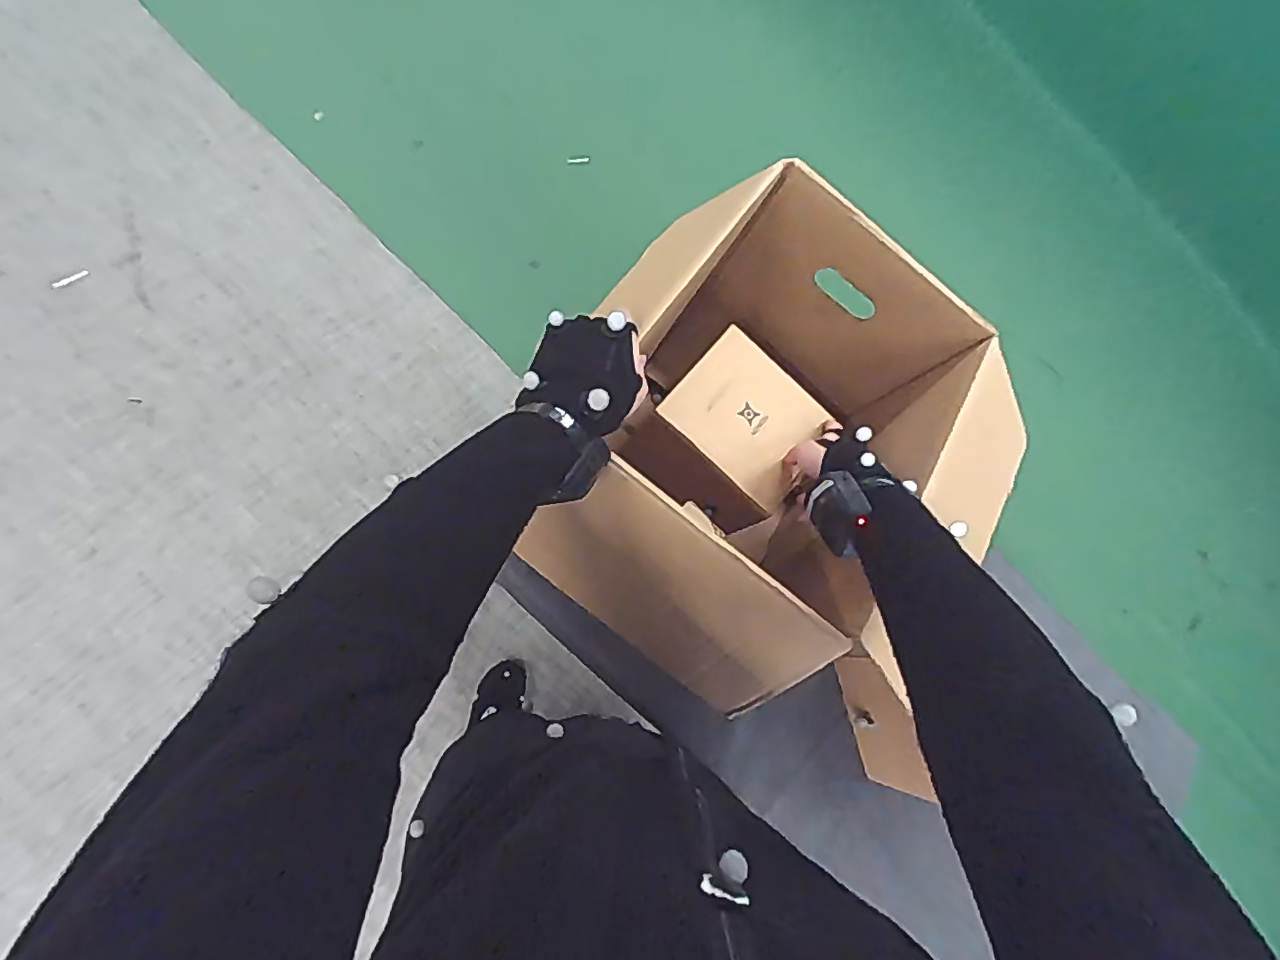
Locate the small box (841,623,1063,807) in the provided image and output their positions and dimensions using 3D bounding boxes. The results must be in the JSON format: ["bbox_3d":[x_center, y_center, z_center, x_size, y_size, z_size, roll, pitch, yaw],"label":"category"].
[{"bbox_3d":[0.404,0.298,0.729,0.168,0.176,0.179,-9,79,-17],"label":"small box"}]
